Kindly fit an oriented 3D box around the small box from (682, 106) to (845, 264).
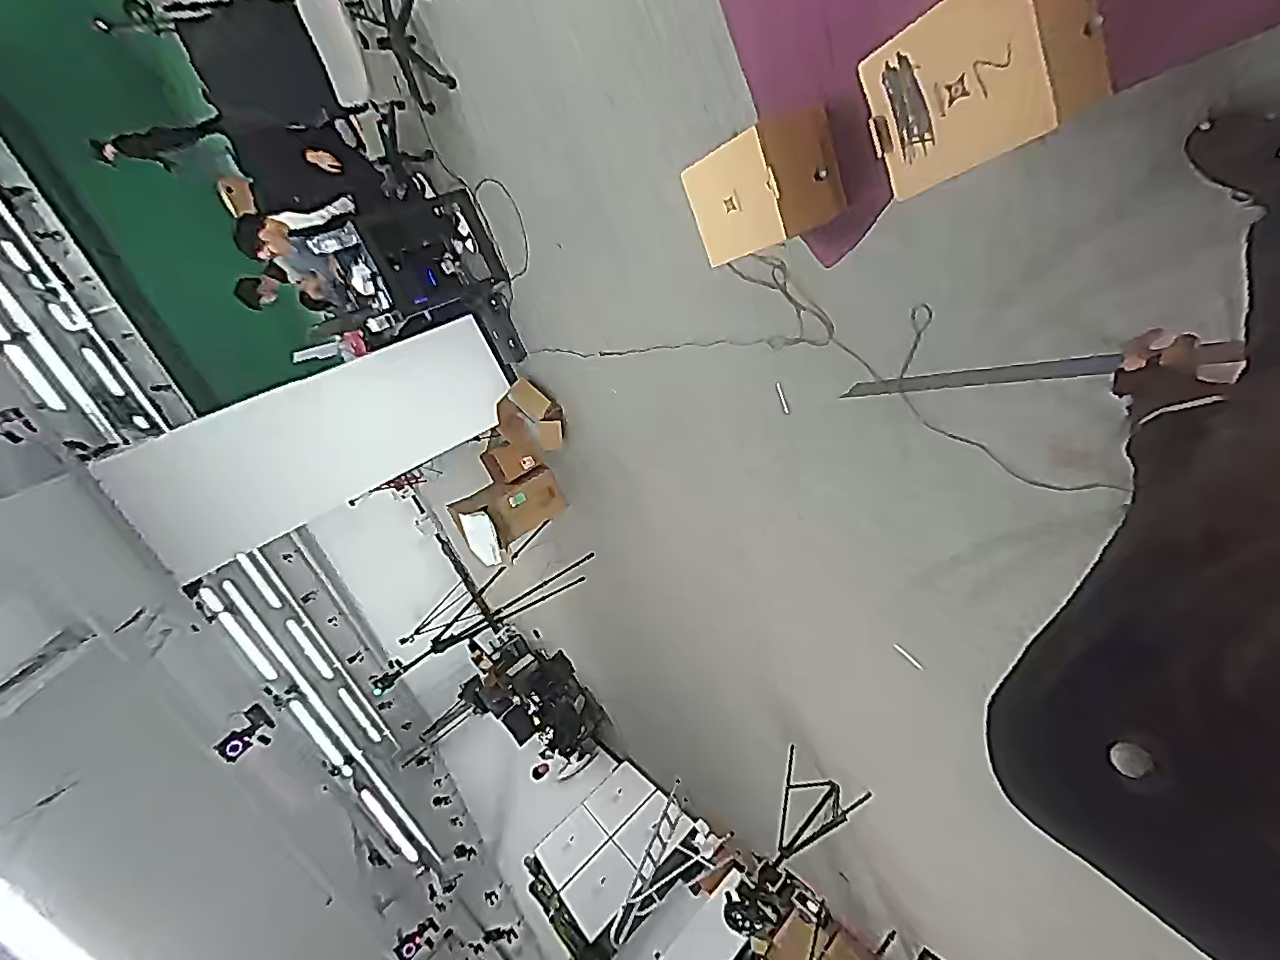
[{"bbox_3d":[0.207,-0.486,0.903,0.179,0.176,0.168,5,124,55],"label":"small box"}]
